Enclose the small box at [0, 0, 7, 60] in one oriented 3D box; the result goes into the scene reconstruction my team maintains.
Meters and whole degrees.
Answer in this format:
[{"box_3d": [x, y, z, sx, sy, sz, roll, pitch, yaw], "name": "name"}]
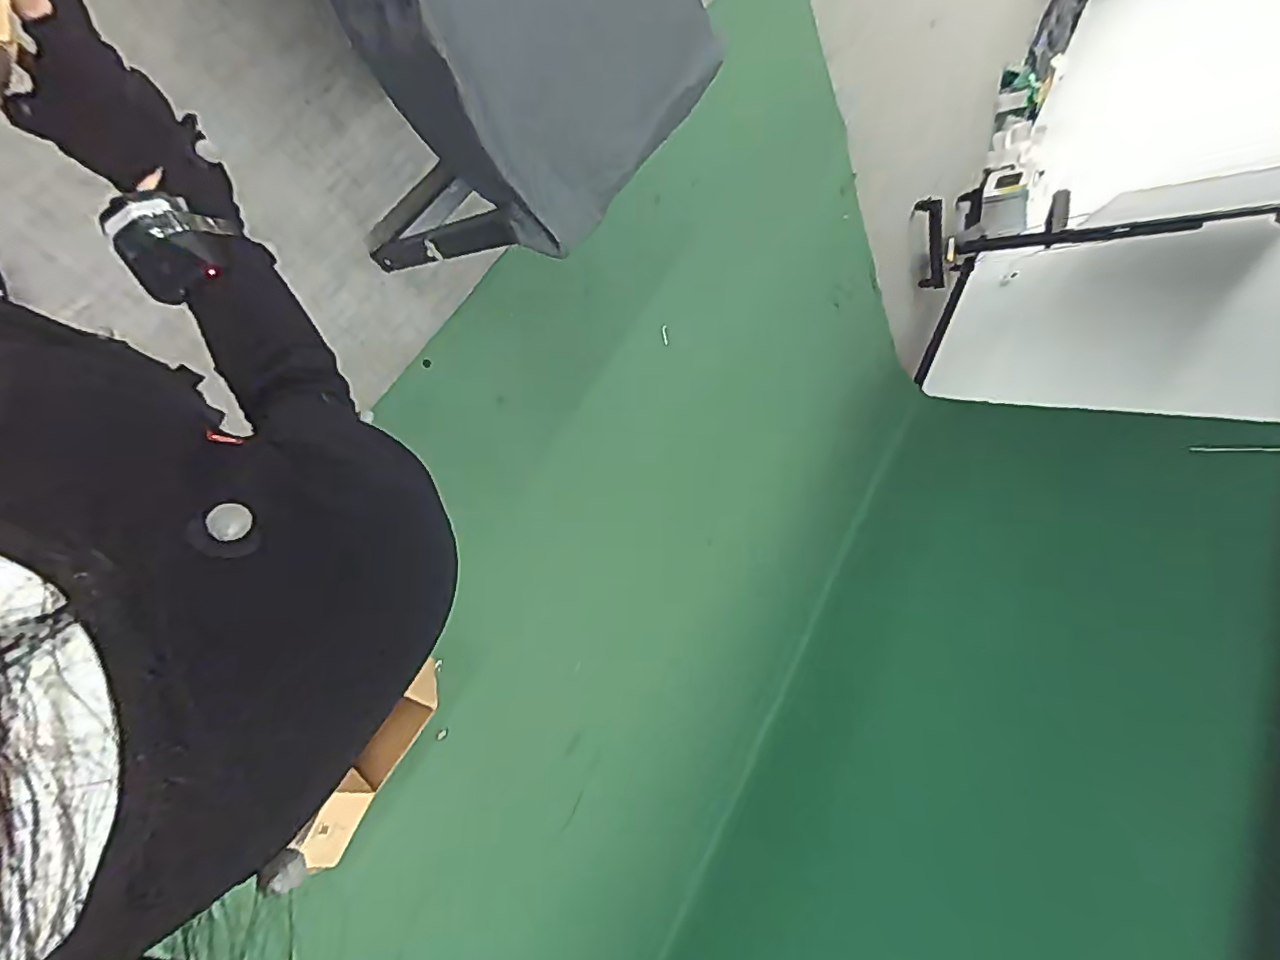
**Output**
[{"box_3d": [-0.467, -0.351, 0.279, 0.168, 0.176, 0.179, -8, 114, -50], "name": "small box"}]
